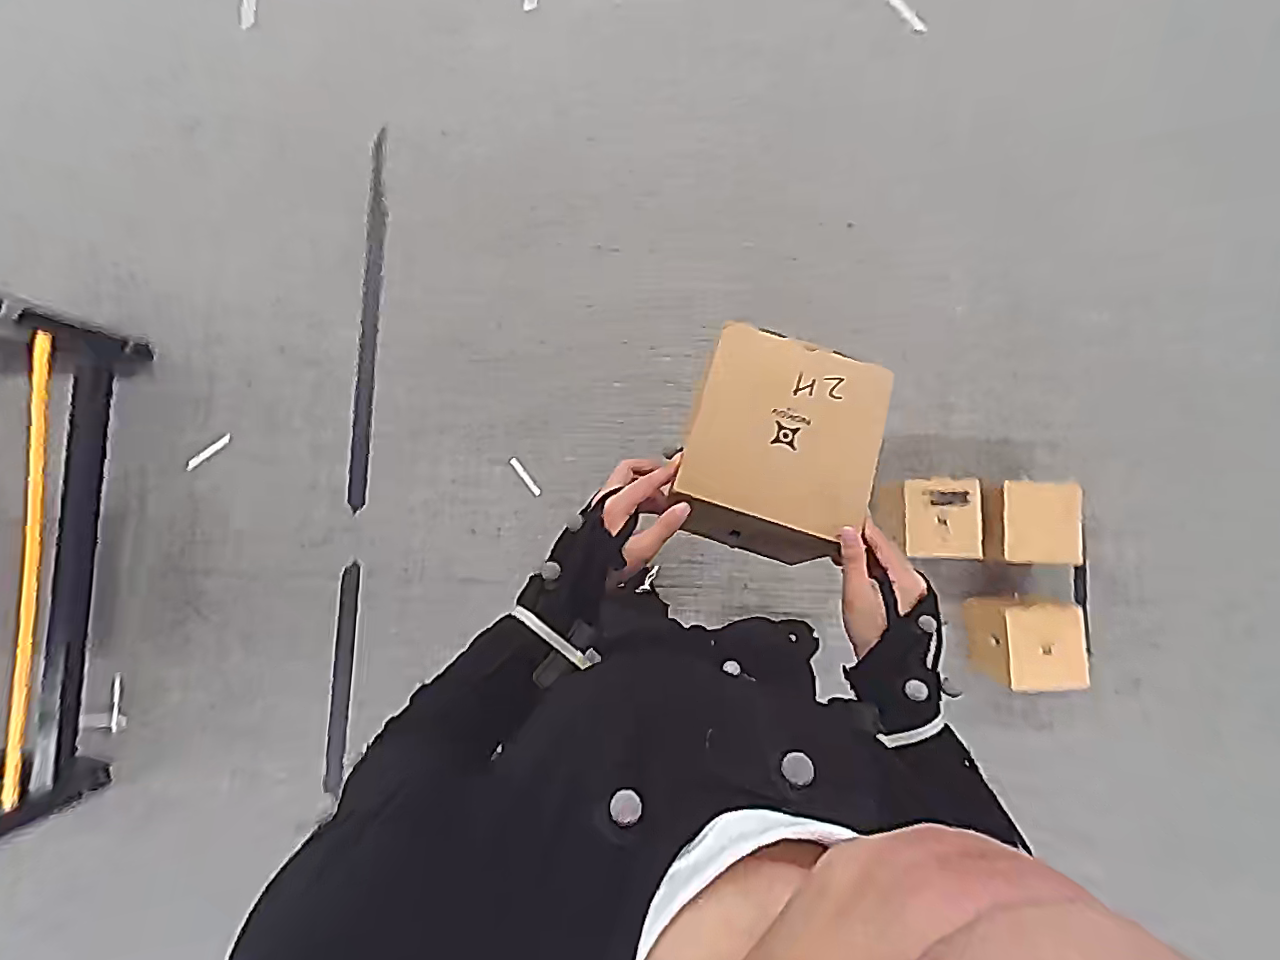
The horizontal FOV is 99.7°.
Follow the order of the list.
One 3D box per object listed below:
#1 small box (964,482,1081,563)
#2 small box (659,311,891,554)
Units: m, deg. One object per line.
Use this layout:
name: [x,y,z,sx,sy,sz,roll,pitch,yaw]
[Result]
small box: [0.886,0.100,1.262,0.168,0.176,0.179,3,87,3]
small box: [0.122,-0.033,0.551,0.168,0.176,0.179,18,75,0]
